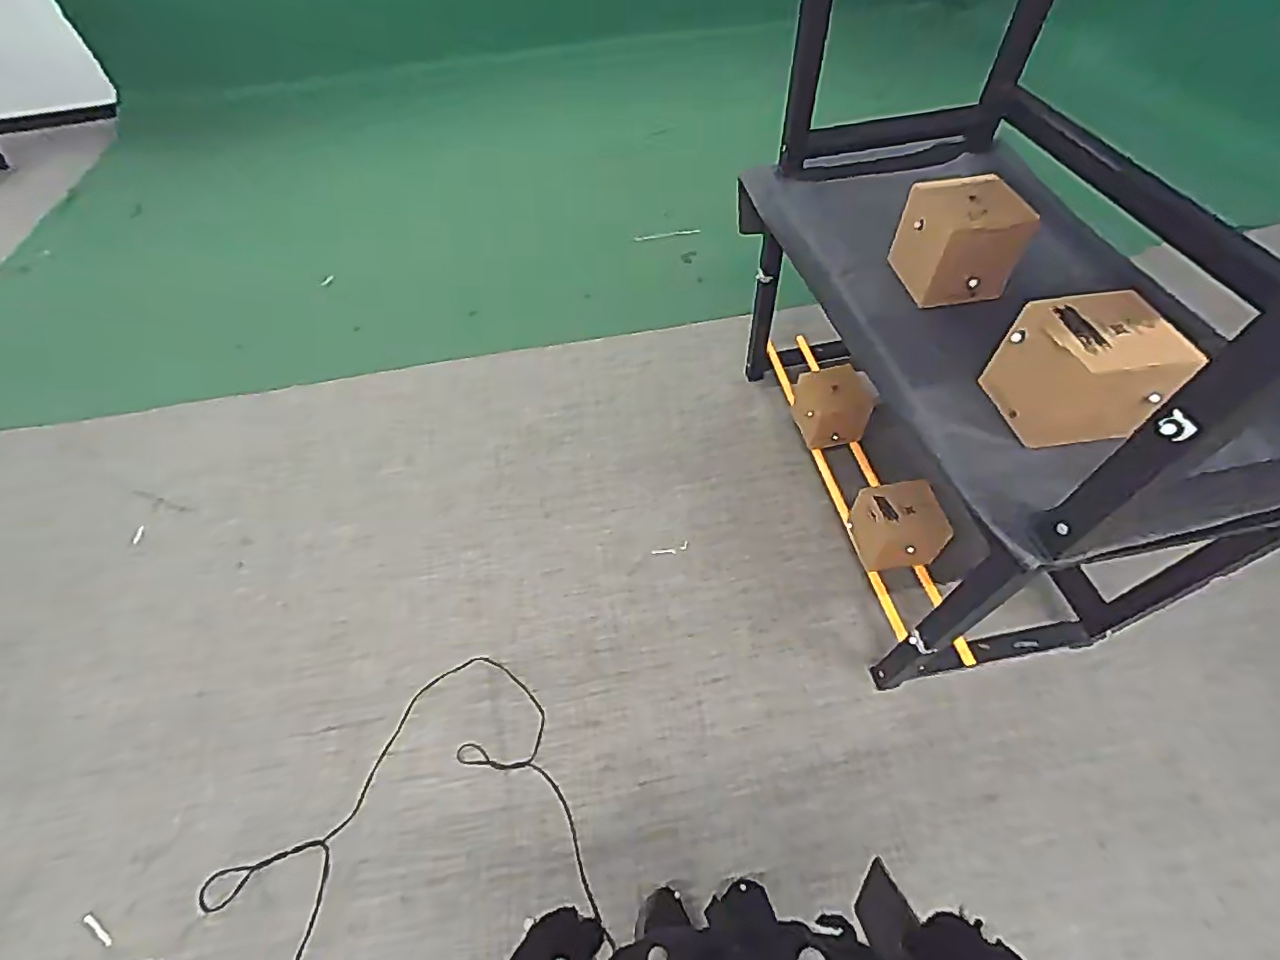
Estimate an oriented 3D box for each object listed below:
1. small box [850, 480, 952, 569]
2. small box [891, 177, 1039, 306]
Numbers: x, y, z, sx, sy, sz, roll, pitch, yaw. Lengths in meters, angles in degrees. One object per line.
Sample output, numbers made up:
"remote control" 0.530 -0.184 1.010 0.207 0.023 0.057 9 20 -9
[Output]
"small box" 0.670 0.122 1.421 0.179 0.176 0.168 -7 55 -1
"small box" 0.631 -0.474 1.080 0.168 0.176 0.179 -8 55 -1
